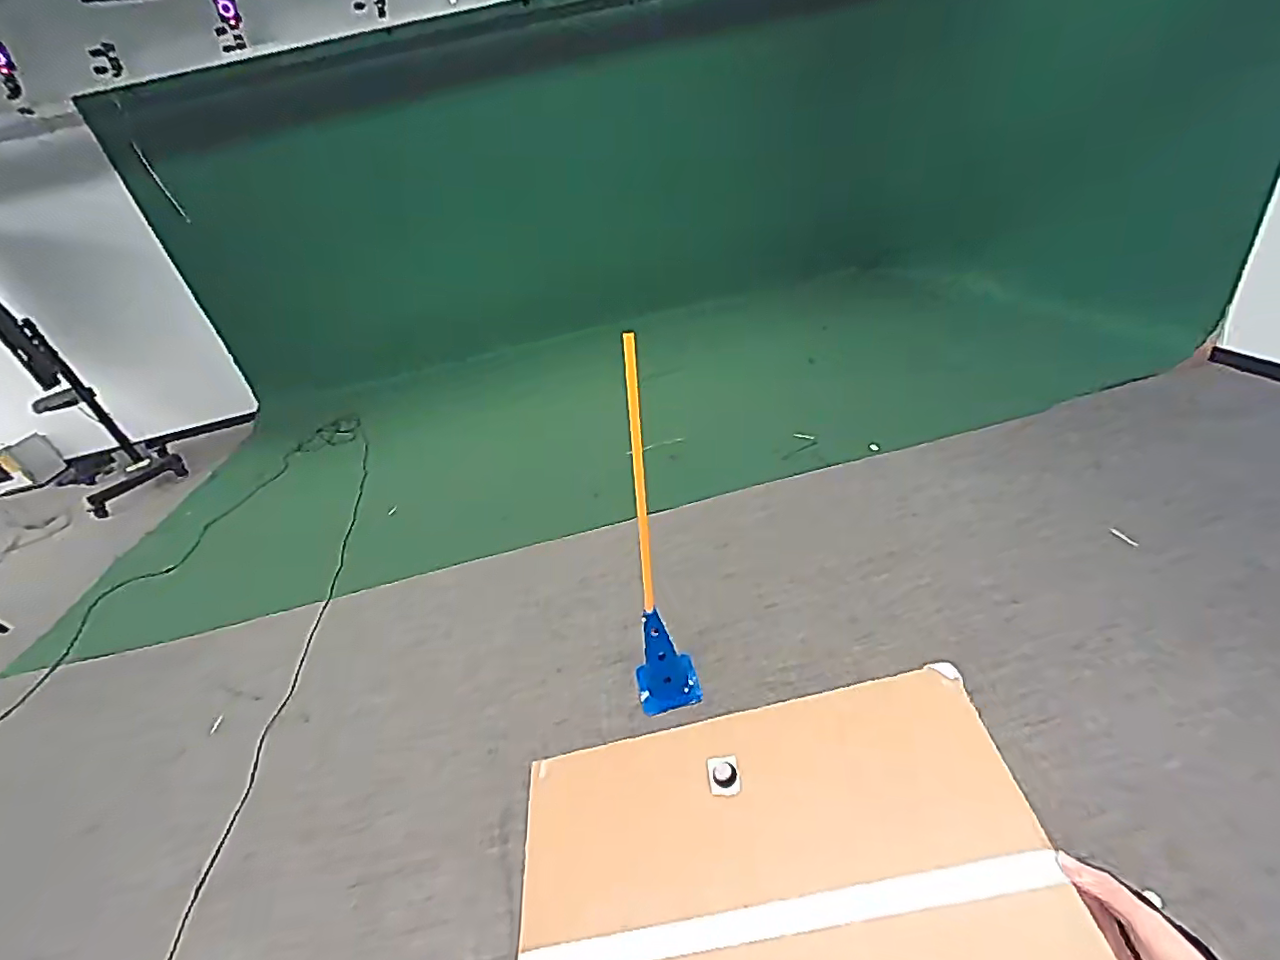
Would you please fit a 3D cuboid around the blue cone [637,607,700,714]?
[{"bbox_3d":[0.063,0.544,1.726,0.193,0.380,0.192,-14,32,-6],"label":"blue cone"}]
